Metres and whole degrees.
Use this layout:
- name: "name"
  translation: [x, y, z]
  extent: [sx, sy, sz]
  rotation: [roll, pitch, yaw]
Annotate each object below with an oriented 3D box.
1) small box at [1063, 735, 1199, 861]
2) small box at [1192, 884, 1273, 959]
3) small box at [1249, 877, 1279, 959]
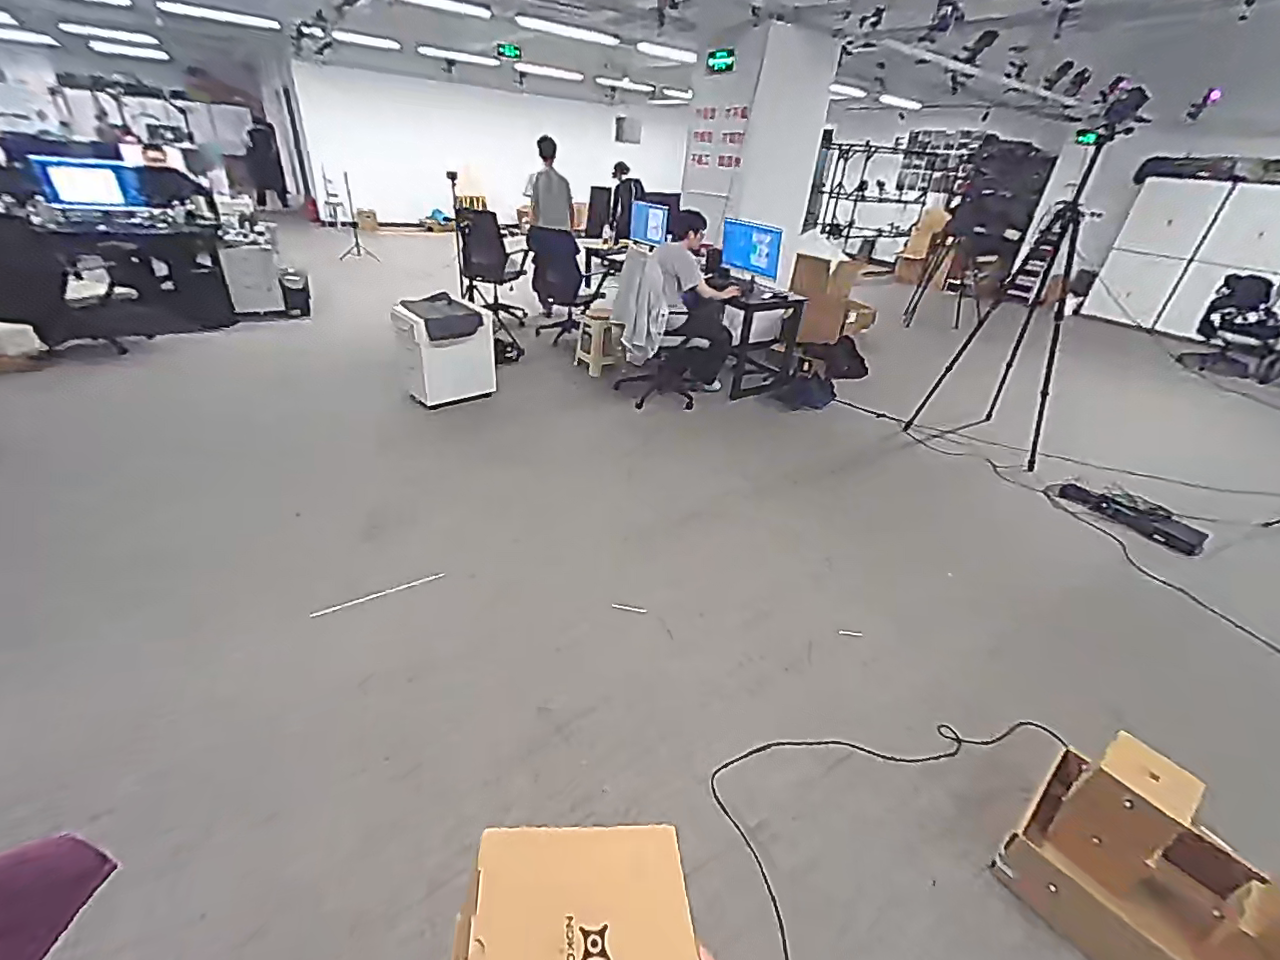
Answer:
- name: "small box"
  translation: [1.199, 0.782, 1.333]
  extent: [0.168, 0.176, 0.179]
  rotation: [-19, 40, -31]
- name: "small box"
  translation: [1.397, 1.070, 1.203]
  extent: [0.168, 0.176, 0.179]
  rotation: [-18, 37, -32]
- name: "small box"
  translation: [1.417, 0.937, 1.106]
  extent: [0.179, 0.176, 0.168]
  rotation: [-18, 39, -33]
